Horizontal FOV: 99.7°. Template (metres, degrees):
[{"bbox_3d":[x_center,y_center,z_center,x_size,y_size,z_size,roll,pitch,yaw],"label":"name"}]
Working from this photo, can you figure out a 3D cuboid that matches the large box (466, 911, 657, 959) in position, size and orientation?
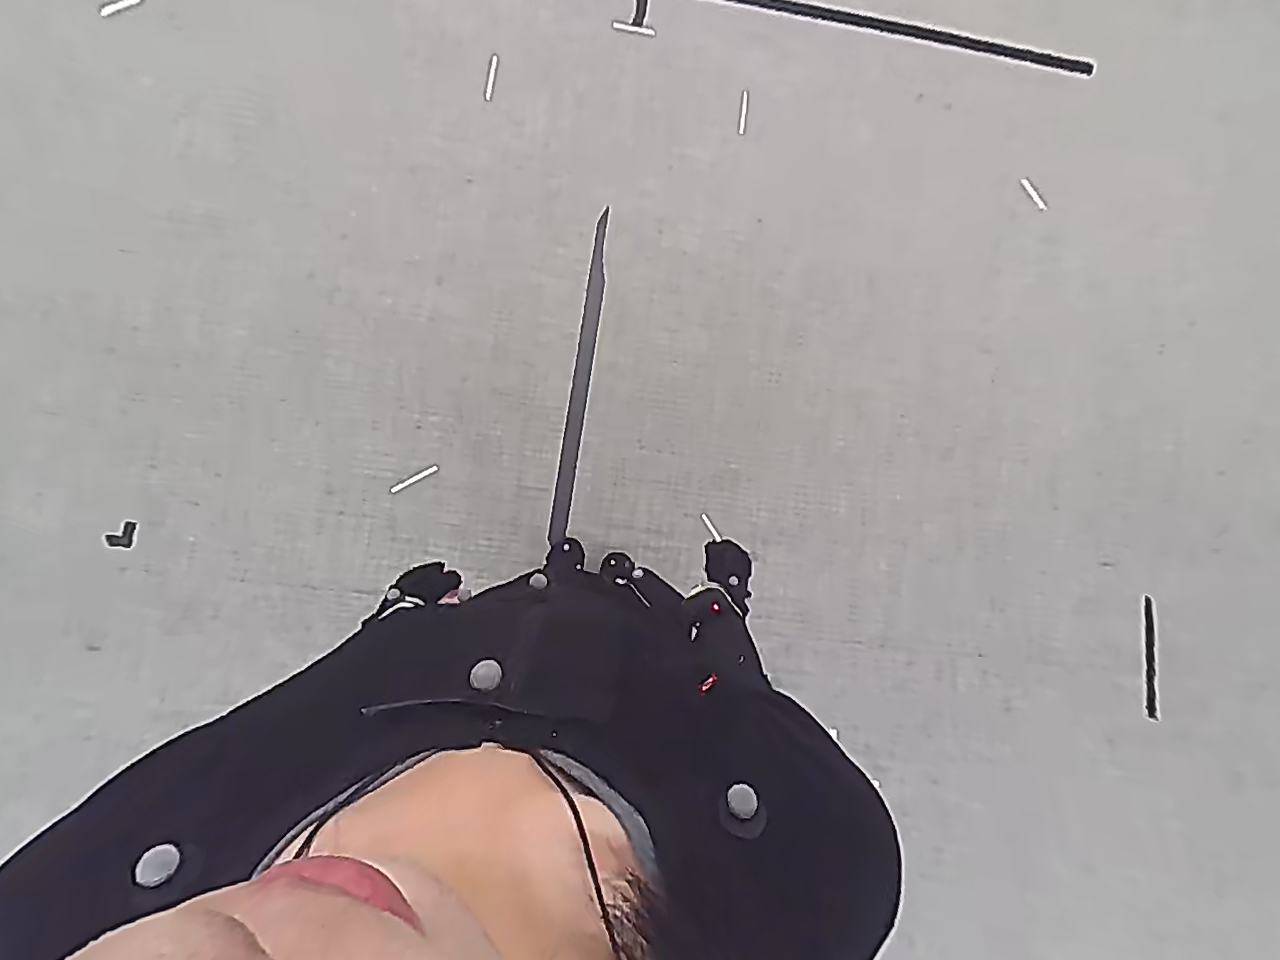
[{"bbox_3d":[-0.156,1.133,1.074,0.408,0.320,0.320,0,82,-5],"label":"large box"}]
